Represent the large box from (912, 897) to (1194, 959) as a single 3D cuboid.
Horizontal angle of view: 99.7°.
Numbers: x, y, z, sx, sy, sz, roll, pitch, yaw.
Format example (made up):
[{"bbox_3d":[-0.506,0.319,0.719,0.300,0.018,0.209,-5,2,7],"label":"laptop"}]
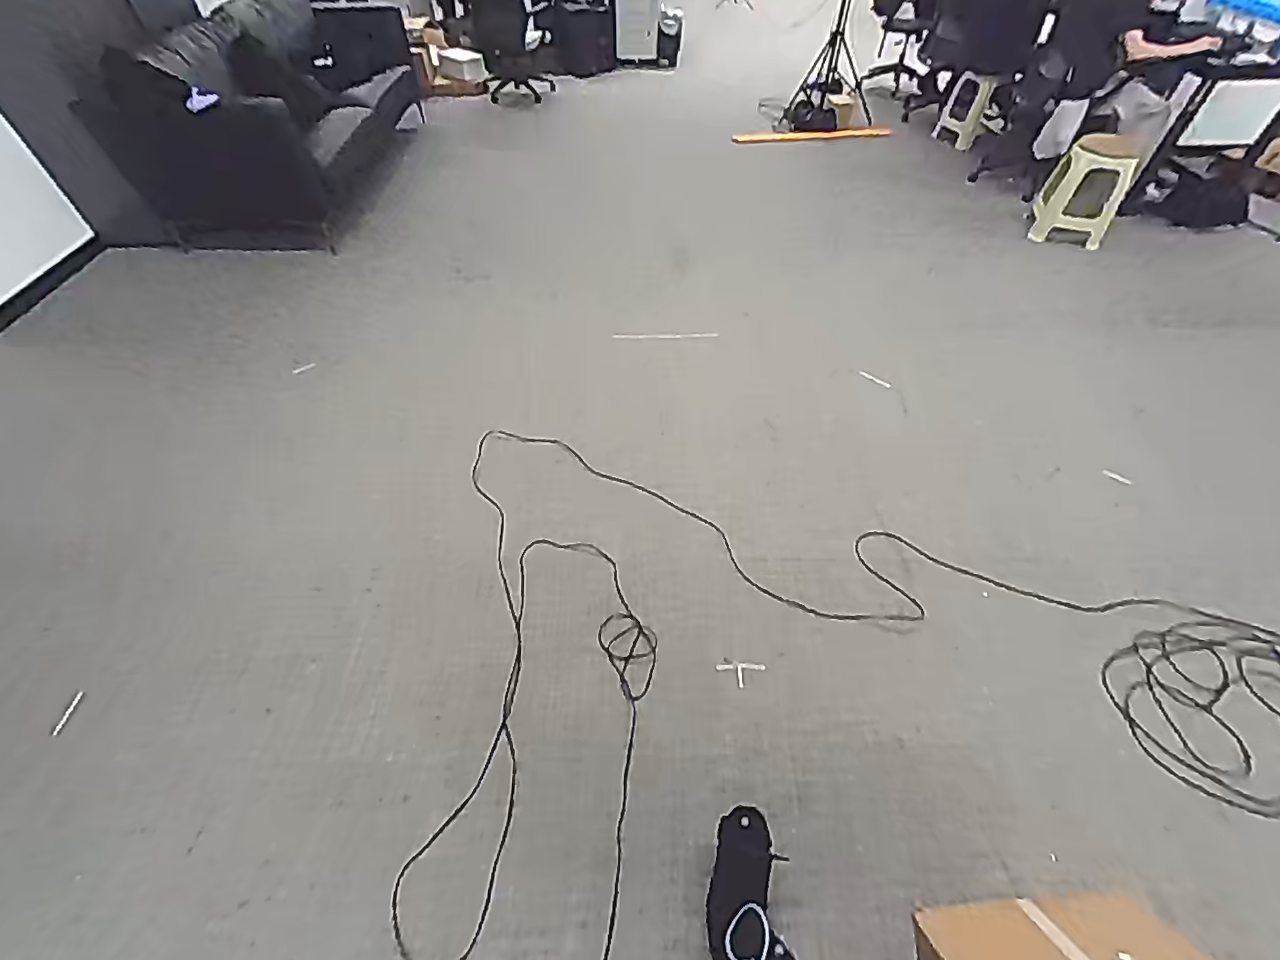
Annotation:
[{"bbox_3d":[0.561,0.758,0.576,0.320,0.408,0.320,-4,87,-2],"label":"large box"}]
